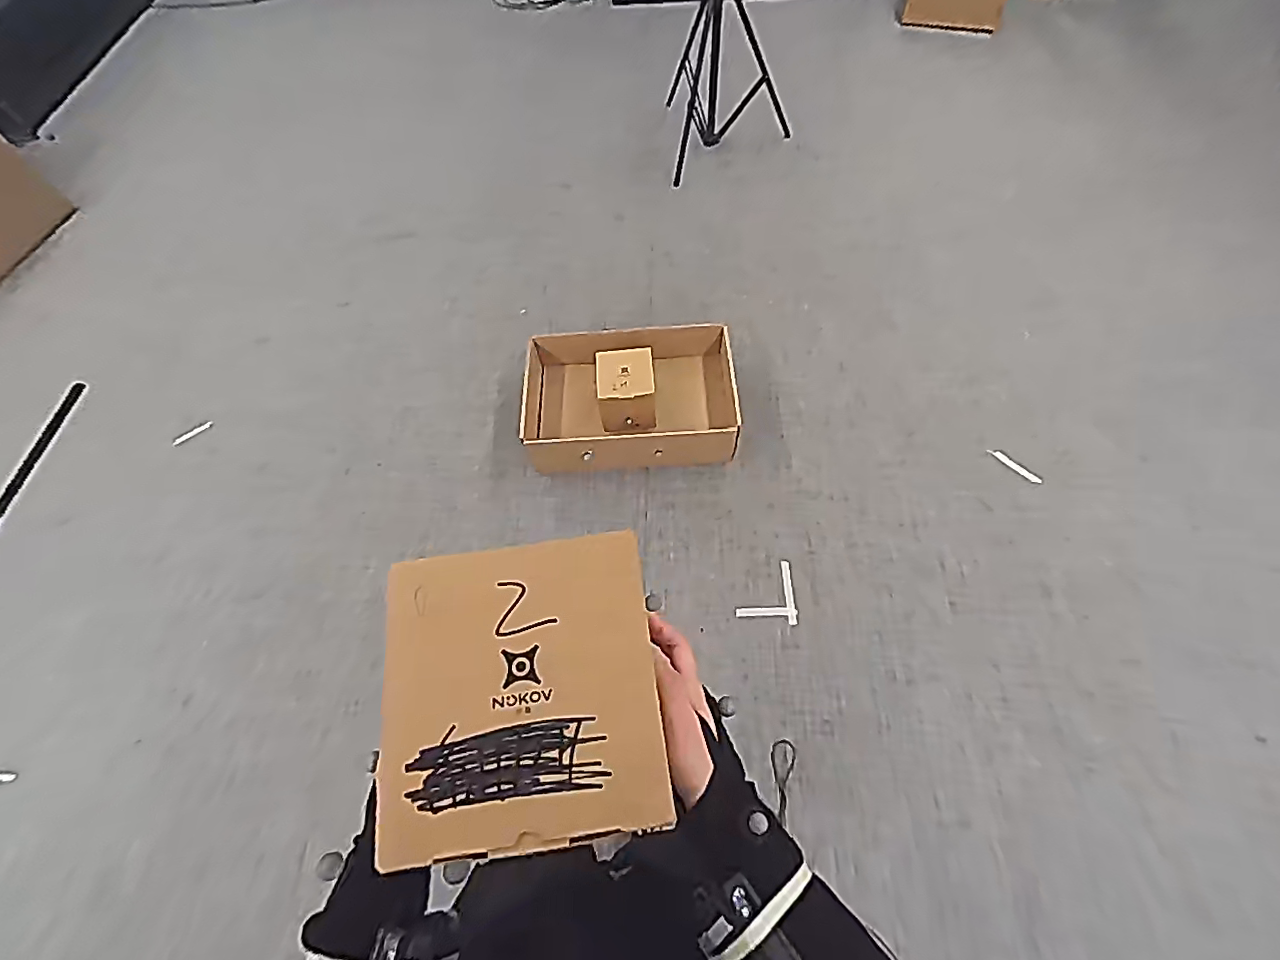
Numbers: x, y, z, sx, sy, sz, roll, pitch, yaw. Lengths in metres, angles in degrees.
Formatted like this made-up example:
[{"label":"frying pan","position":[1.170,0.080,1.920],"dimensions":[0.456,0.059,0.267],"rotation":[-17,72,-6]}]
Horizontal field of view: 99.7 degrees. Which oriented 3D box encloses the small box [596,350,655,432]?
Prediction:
[{"label":"small box","position":[-0.043,-0.267,1.634],"dimensions":[0.168,0.176,0.179],"rotation":[-5,62,1]}]
